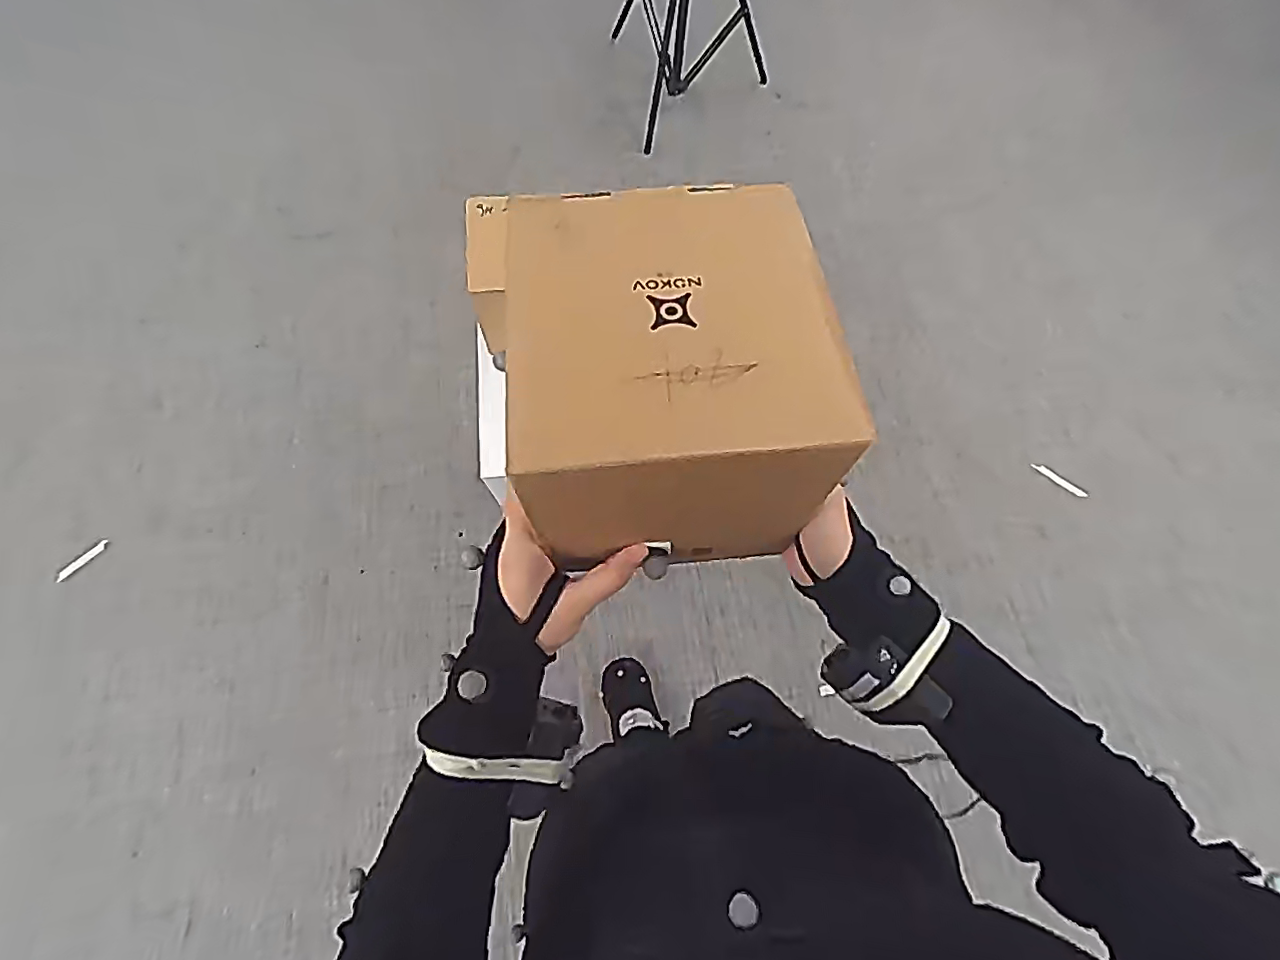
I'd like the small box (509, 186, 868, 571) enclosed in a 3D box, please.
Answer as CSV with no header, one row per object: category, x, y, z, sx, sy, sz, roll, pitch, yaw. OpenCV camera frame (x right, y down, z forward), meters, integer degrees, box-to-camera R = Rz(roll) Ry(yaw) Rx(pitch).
small box,0.013,-0.054,0.349,0.168,0.176,0.179,-6,66,-3

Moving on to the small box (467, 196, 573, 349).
small box,-0.177,-0.326,0.879,0.168,0.176,0.179,-5,73,-6
